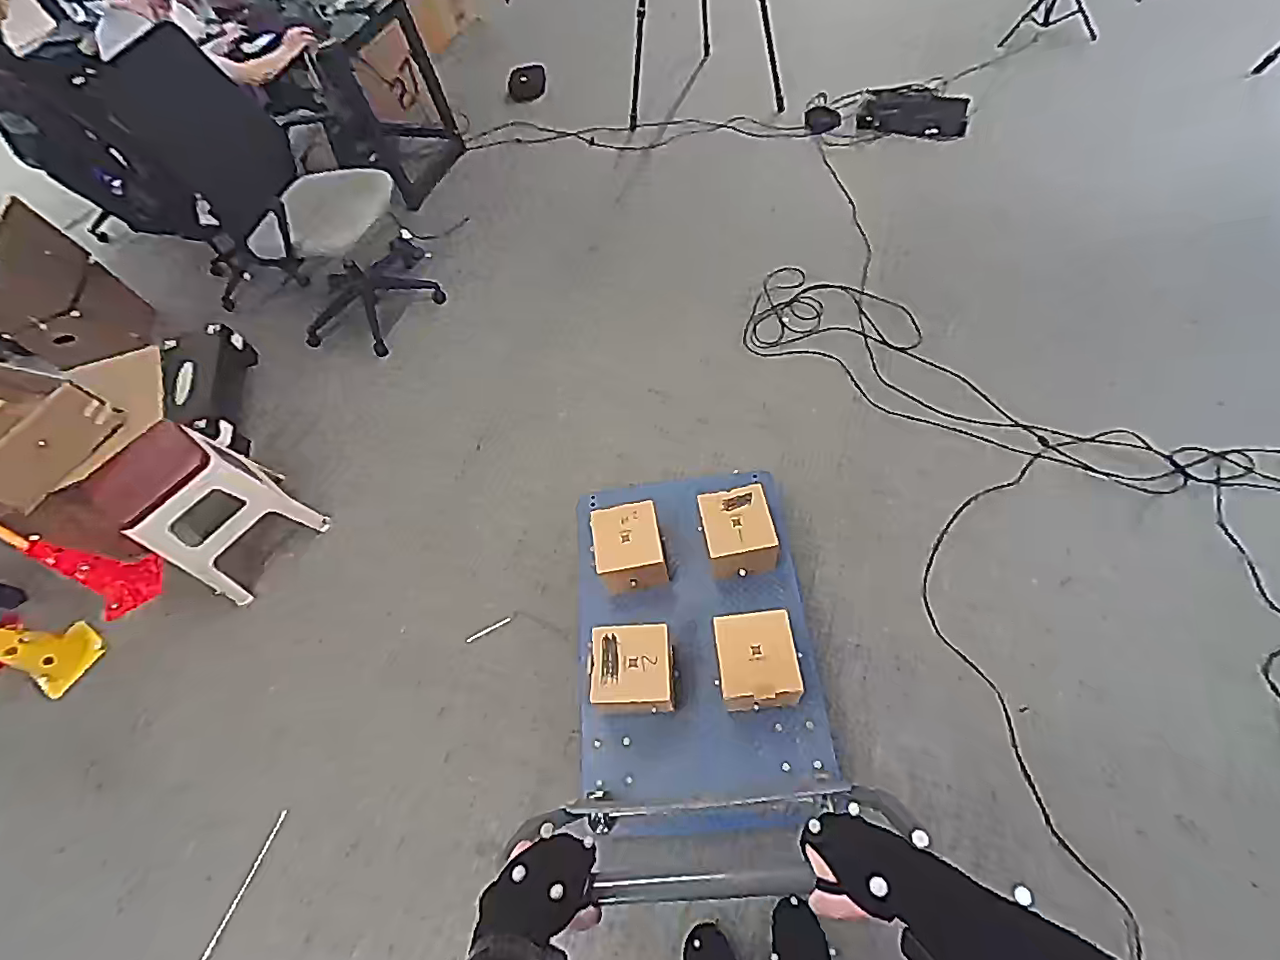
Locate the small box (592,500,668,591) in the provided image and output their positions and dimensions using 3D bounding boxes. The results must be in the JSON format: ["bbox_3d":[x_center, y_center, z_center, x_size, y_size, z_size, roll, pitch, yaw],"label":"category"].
[{"bbox_3d":[-0.024,0.178,1.407,0.168,0.176,0.179,-10,59,2],"label":"small box"}]

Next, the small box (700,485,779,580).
[{"bbox_3d":[0.249,0.137,1.388,0.168,0.176,0.179,-11,60,3],"label":"small box"}]

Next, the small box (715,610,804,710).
[{"bbox_3d":[0.261,0.412,1.228,0.168,0.176,0.179,-8,60,4],"label":"small box"}]
